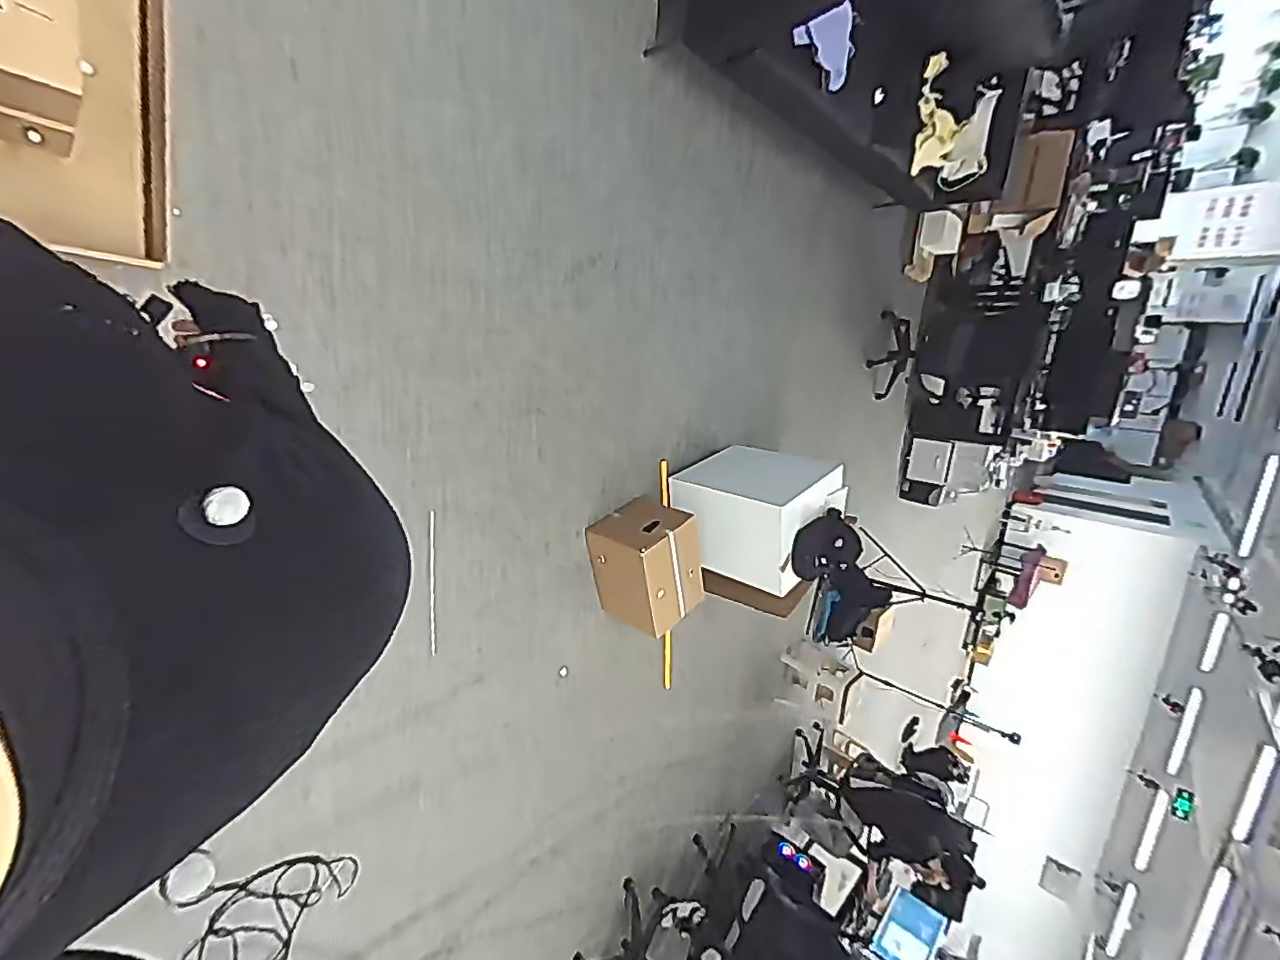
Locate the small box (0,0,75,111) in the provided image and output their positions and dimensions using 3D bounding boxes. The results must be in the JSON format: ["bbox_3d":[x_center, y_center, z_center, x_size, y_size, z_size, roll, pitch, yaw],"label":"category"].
[{"bbox_3d":[-0.865,-0.614,0.697,0.179,0.176,0.168,-6,104,-49],"label":"small box"}]
